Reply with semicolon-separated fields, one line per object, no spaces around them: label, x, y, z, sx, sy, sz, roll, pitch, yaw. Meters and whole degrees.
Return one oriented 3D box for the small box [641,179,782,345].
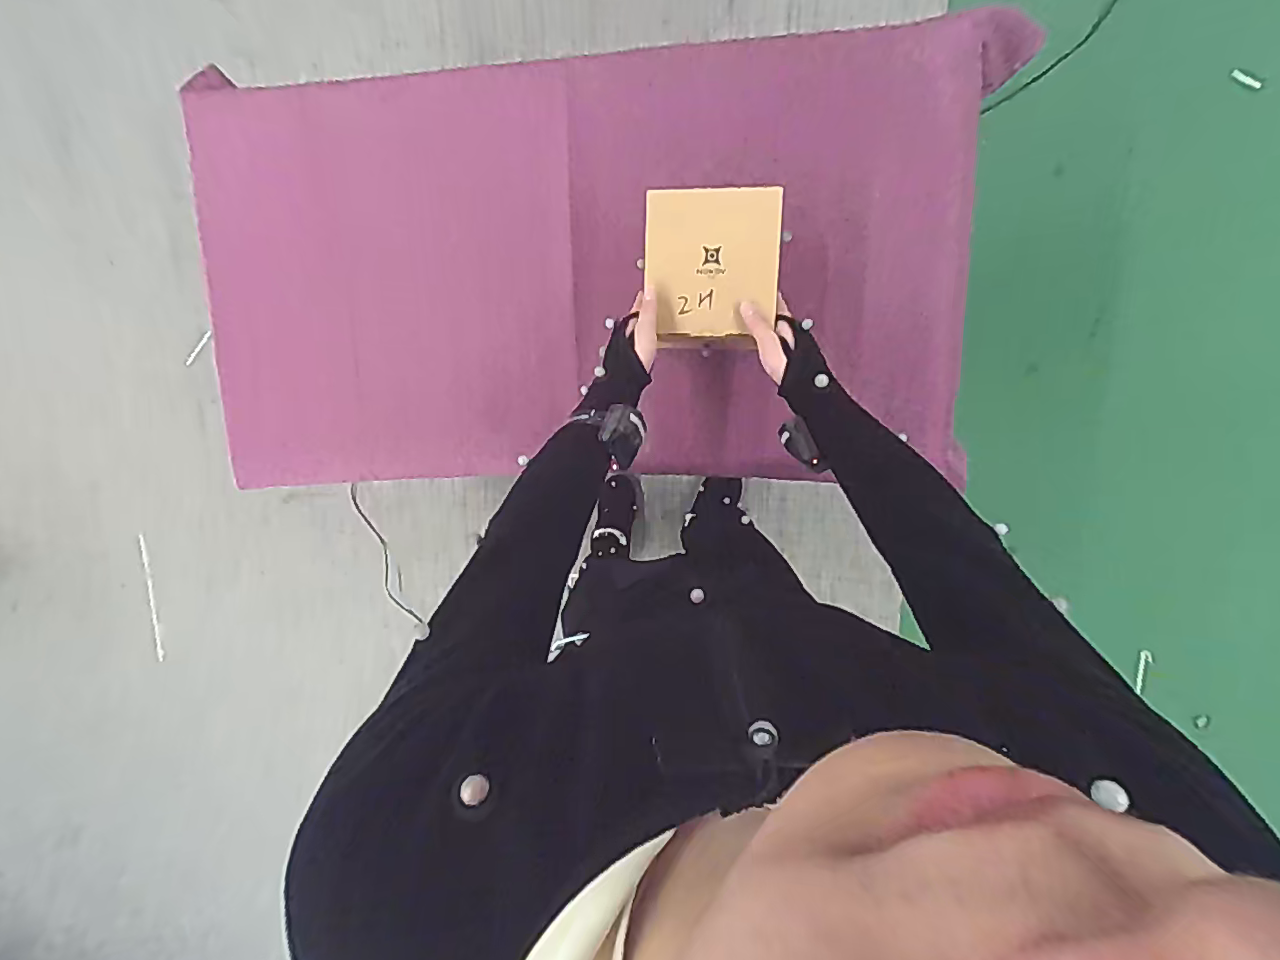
small box;0.094;-0.285;0.738;0.168;0.176;0.179;3;99;8
